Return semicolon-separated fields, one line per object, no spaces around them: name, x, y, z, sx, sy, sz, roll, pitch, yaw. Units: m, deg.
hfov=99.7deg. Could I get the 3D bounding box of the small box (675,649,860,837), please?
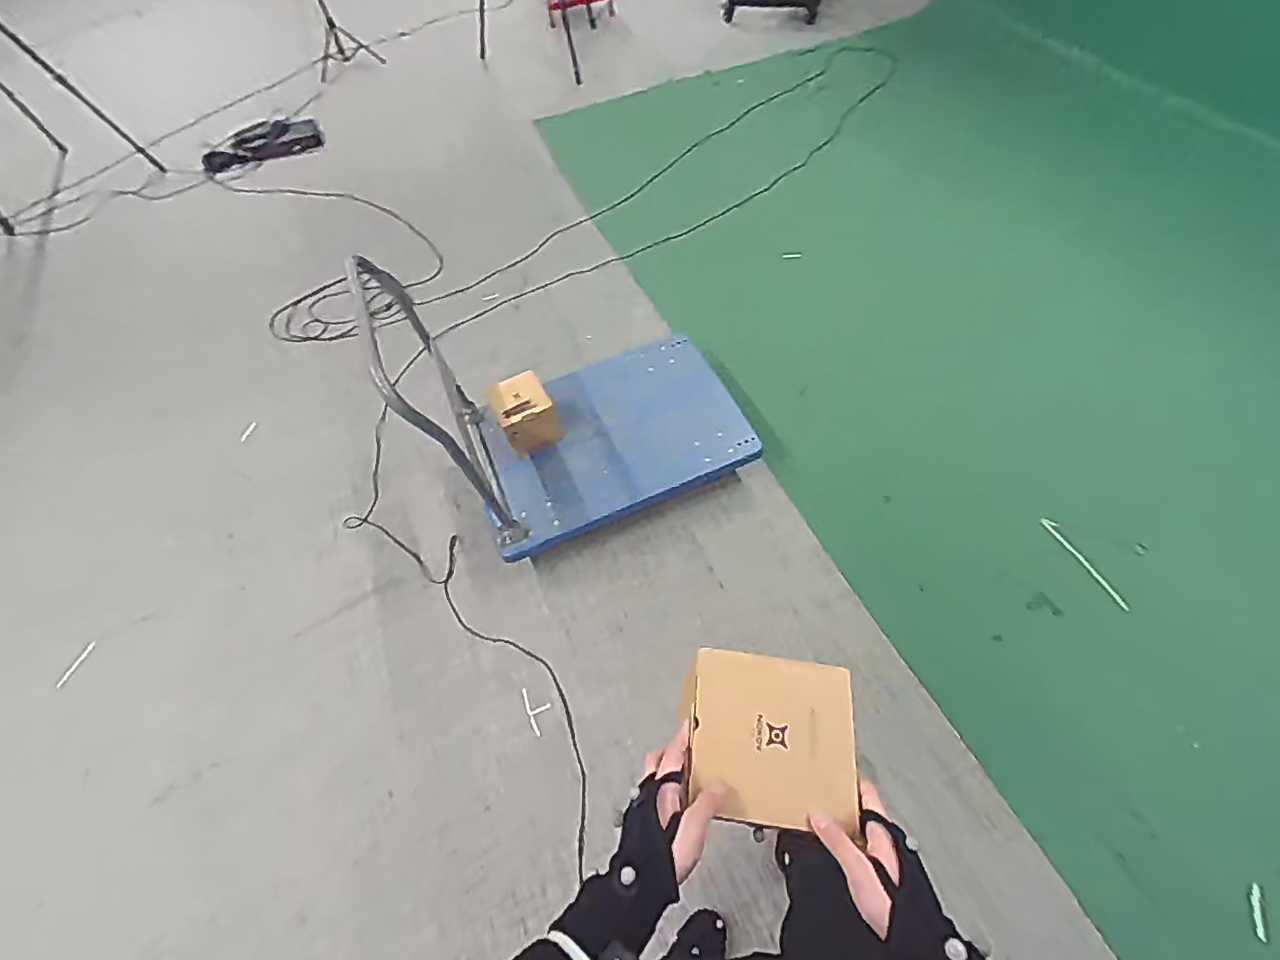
small box;0.139;0.316;0.644;0.179;0.176;0.168;8;58;2
